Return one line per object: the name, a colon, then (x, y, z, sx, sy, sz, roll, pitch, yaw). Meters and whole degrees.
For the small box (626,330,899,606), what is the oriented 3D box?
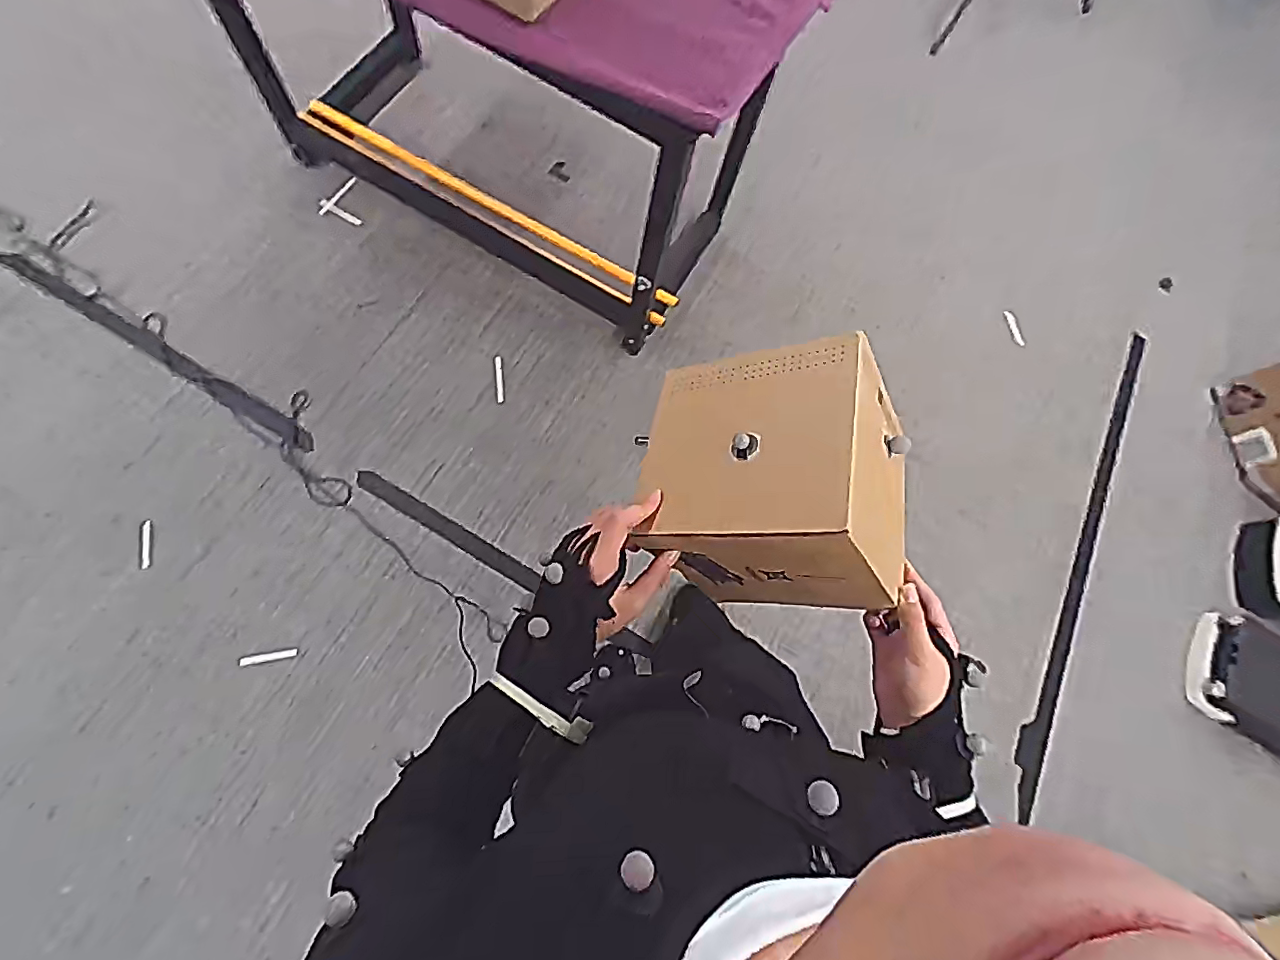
small box: (0.117, 0.000, 0.470, 0.179, 0.168, 0.176, -6, 60, 35)
